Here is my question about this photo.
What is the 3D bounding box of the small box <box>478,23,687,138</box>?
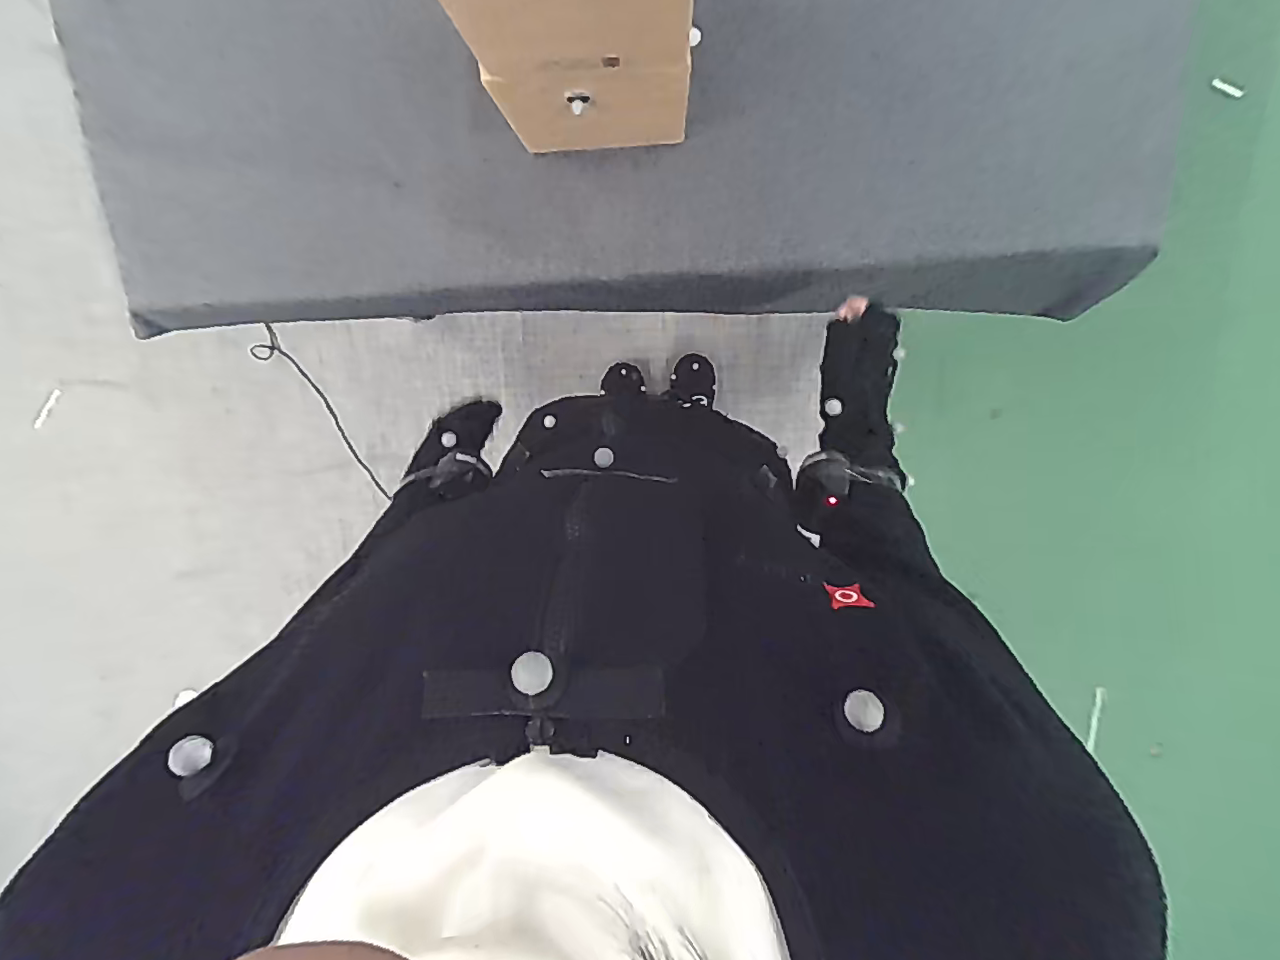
[{"bbox_3d":[-0.045,-0.443,0.508,0.179,0.176,0.168,-2,104,3],"label":"small box"}]

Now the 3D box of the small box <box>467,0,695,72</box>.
[{"bbox_3d":[-0.047,-0.409,0.351,0.168,0.176,0.179,-3,104,3],"label":"small box"}]
